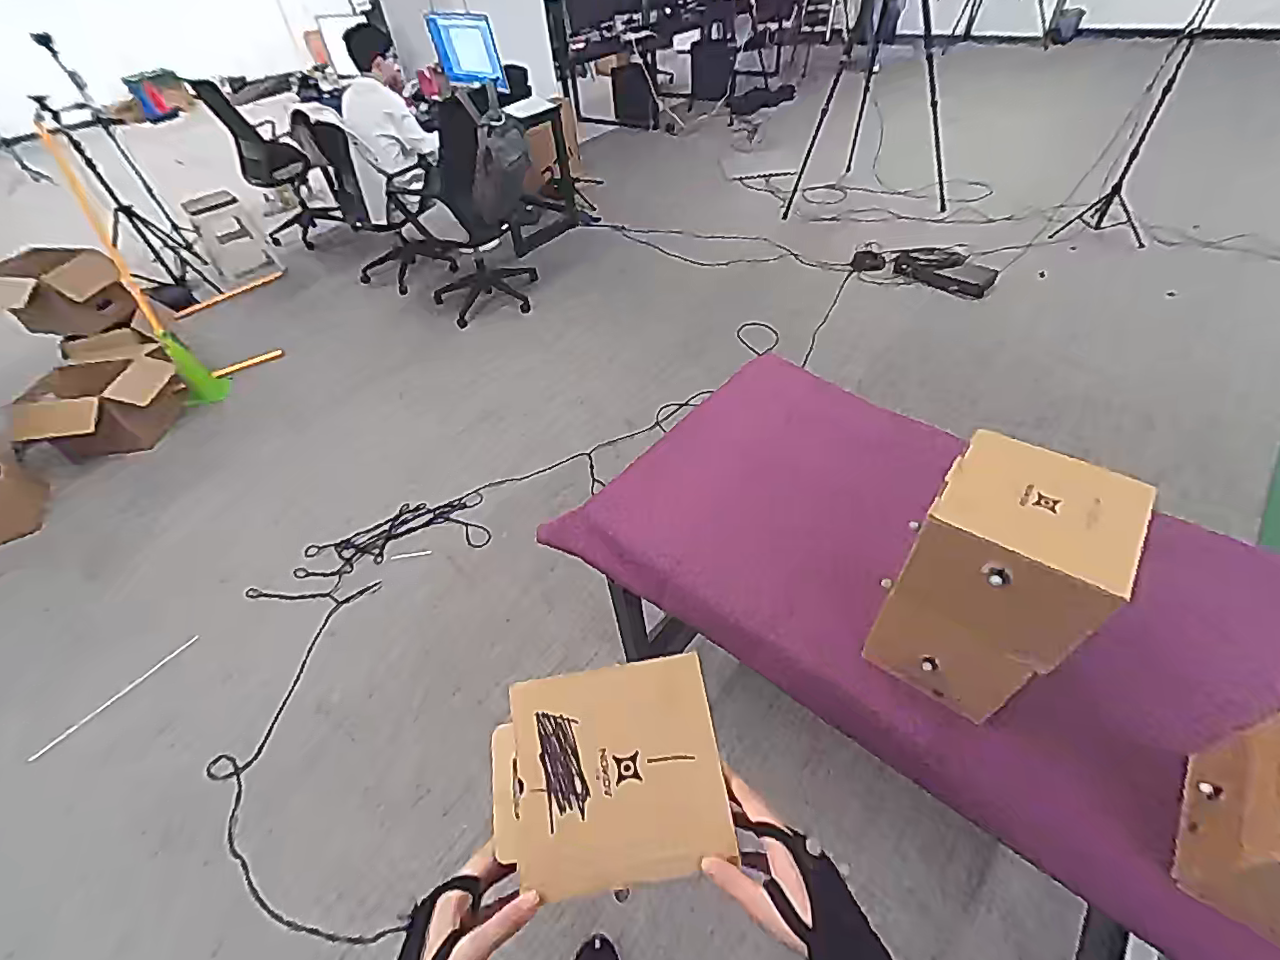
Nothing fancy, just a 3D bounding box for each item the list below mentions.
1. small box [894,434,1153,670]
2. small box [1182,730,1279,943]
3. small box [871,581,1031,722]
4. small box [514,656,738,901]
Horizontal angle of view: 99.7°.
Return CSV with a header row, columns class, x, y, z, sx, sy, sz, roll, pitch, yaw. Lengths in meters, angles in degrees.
class,x,y,z,sx,sy,sz,roll,pitch,yaw
small box,0.418,0.082,0.615,0.179,0.176,0.168,28,56,30
small box,0.695,0.369,0.525,0.179,0.176,0.168,26,56,31
small box,0.434,0.190,0.737,0.168,0.176,0.179,28,55,30
small box,-0.014,0.286,0.529,0.179,0.176,0.168,-9,60,-3
